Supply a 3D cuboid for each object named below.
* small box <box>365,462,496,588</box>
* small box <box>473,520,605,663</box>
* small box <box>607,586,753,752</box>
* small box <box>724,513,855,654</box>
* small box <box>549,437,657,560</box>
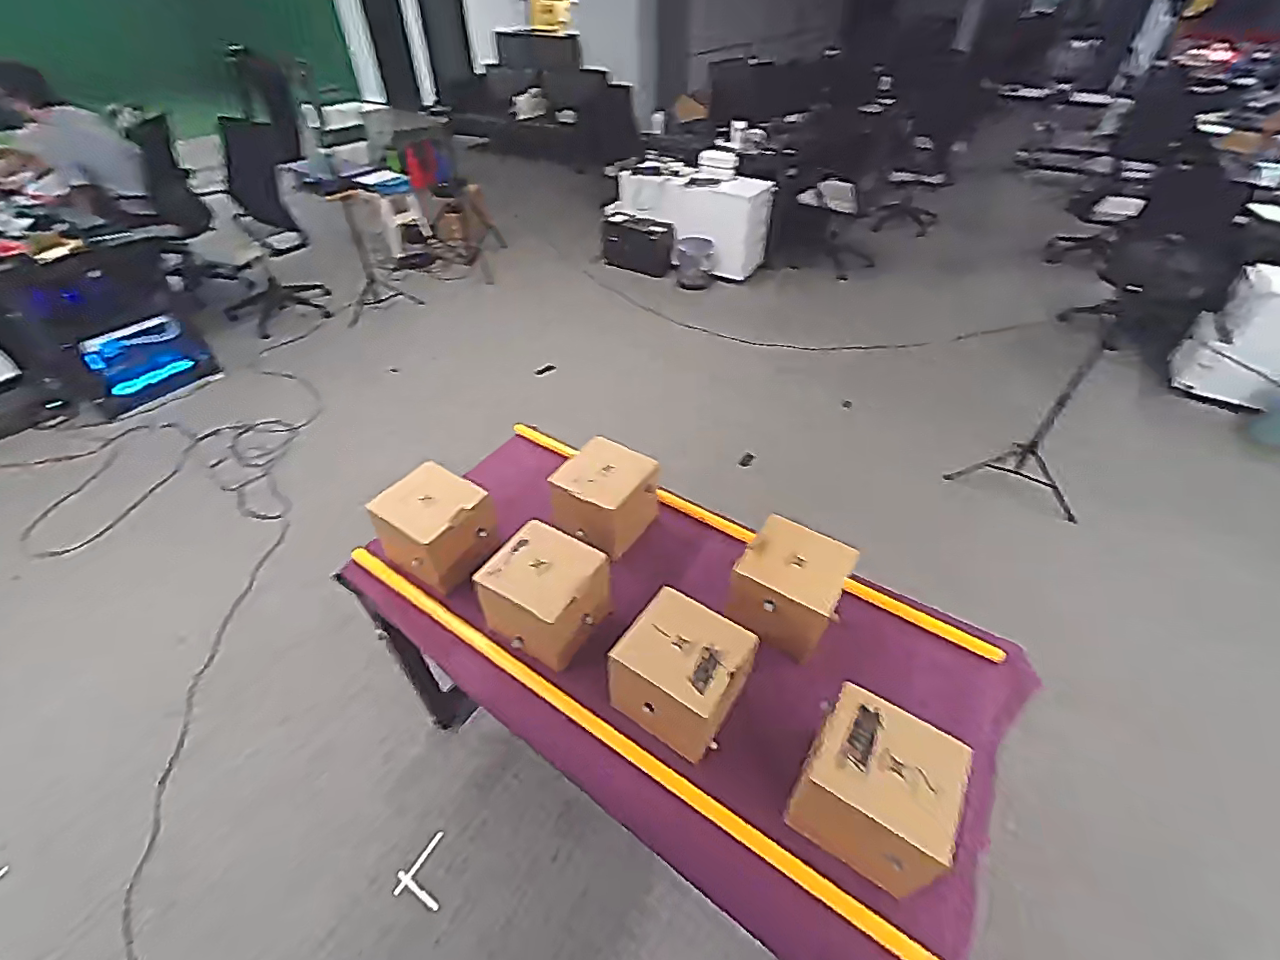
[{"bbox_3d":[-0.424,0.099,1.125,0.179,0.176,0.168,25,48,21],"label":"small box"},{"bbox_3d":[-0.177,0.213,1.009,0.179,0.176,0.168,24,48,22],"label":"small box"},{"bbox_3d":[0.064,0.318,0.898,0.179,0.176,0.168,25,47,26],"label":"small box"},{"bbox_3d":[0.276,0.201,1.025,0.179,0.176,0.168,24,49,24],"label":"small box"},{"bbox_3d":[-0.078,0.040,1.192,0.168,0.176,0.179,24,50,24],"label":"small box"}]
